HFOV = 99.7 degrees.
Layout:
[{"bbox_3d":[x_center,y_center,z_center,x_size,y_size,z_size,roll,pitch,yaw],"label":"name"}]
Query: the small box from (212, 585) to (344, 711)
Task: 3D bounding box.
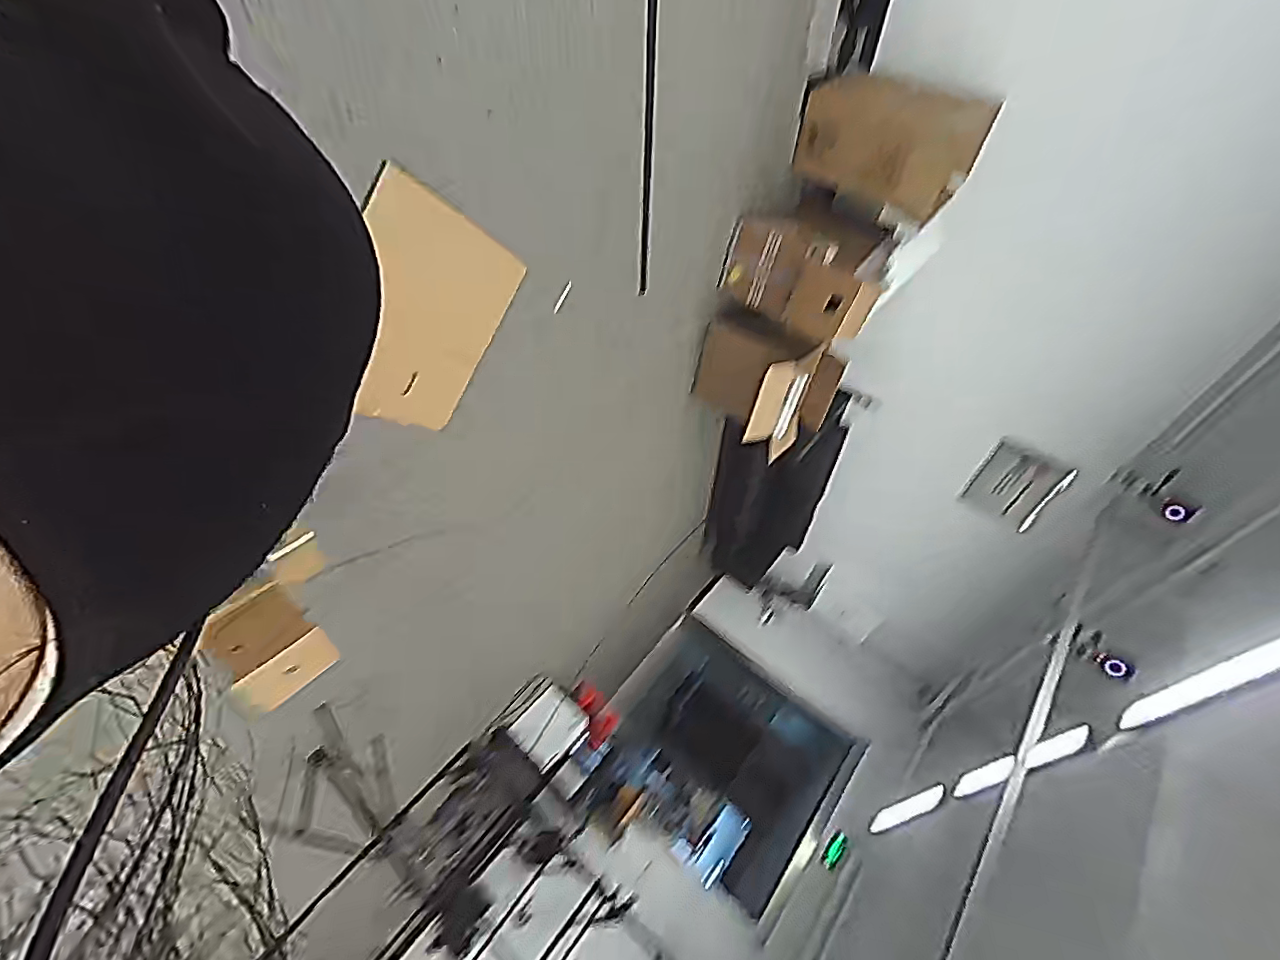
[{"bbox_3d":[-0.822,0.377,1.226,0.179,0.176,0.168,-41,153,-33],"label":"small box"}]
